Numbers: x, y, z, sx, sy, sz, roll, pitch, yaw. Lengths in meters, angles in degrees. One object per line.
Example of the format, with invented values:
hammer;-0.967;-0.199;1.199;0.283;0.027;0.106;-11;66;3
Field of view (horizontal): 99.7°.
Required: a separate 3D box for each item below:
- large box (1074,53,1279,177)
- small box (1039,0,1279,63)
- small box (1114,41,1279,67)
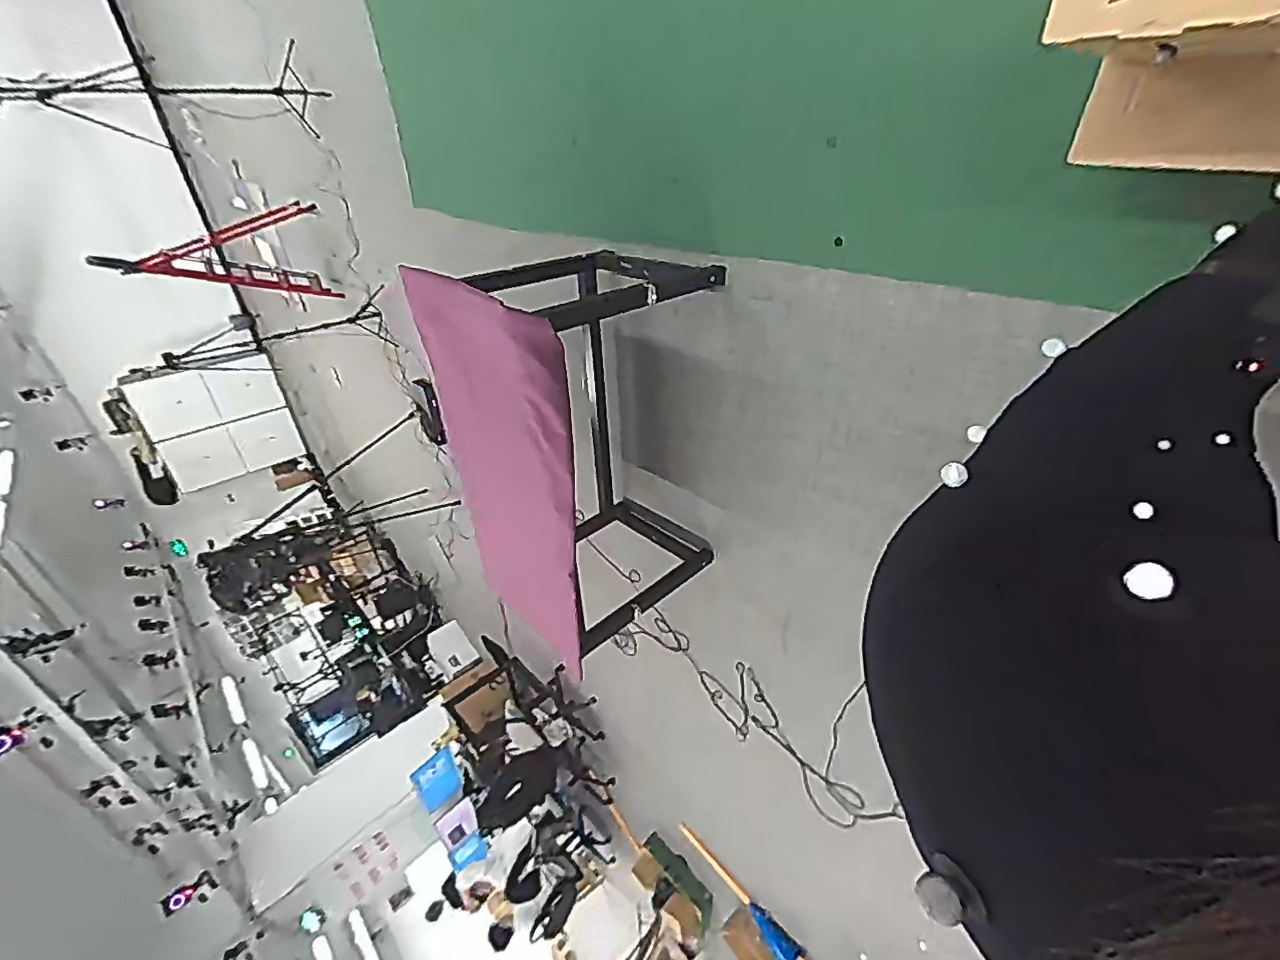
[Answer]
large box;0.858;-0.556;0.659;0.408;0.320;0.320;29;134;37
small box;0.490;-0.481;0.465;0.168;0.176;0.179;29;133;38
small box;0.609;-0.548;0.559;0.168;0.176;0.179;29;133;37
